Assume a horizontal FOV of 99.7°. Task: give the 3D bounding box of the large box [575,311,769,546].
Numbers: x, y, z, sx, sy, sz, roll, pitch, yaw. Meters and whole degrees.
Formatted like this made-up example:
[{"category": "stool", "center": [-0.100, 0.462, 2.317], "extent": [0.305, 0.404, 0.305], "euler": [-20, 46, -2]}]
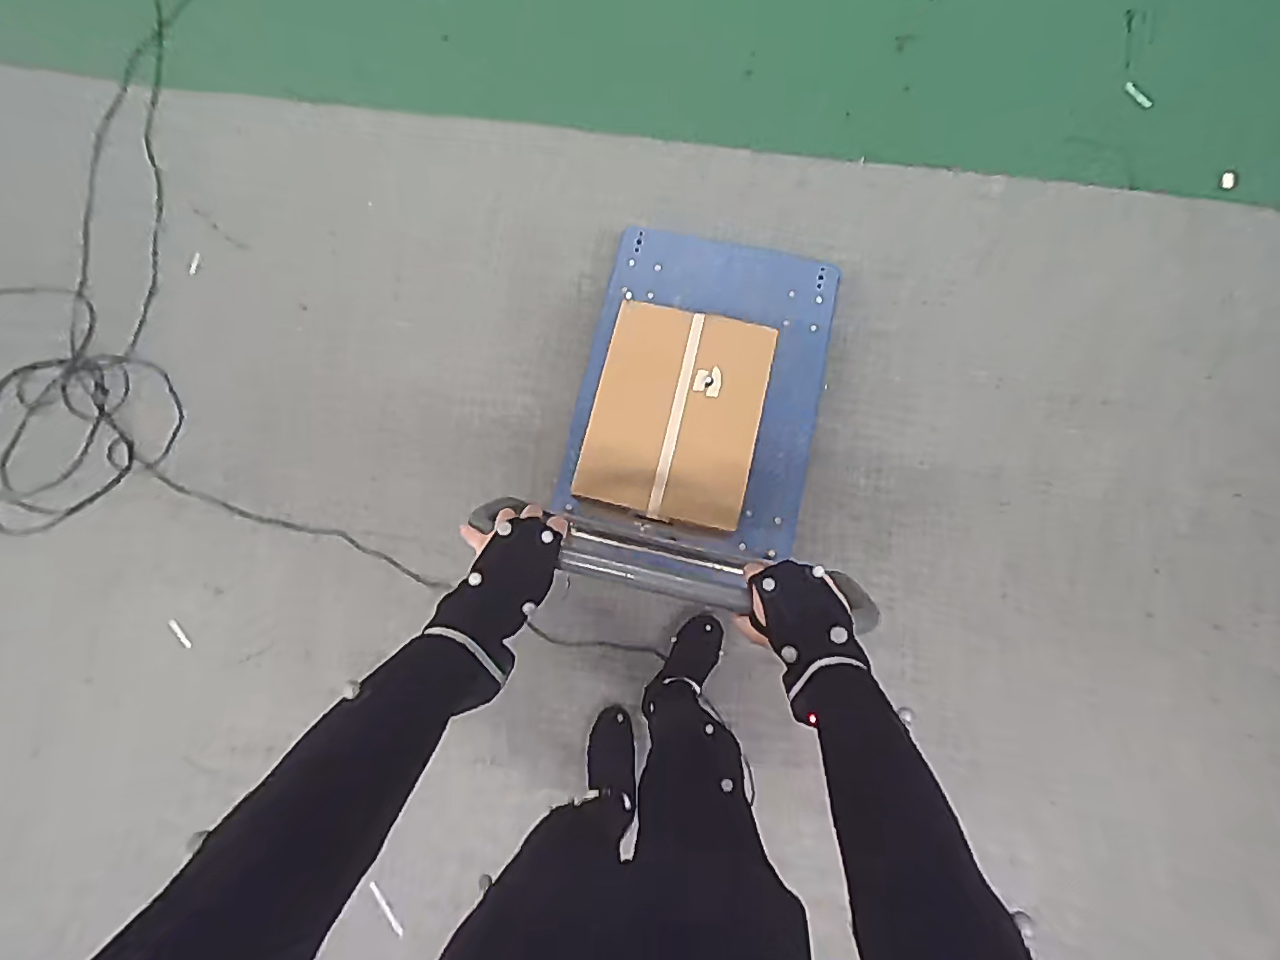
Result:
[{"category": "large box", "center": [0.072, -0.091, 1.192], "extent": [0.320, 0.320, 0.408], "euler": [13, 78, 4]}]
